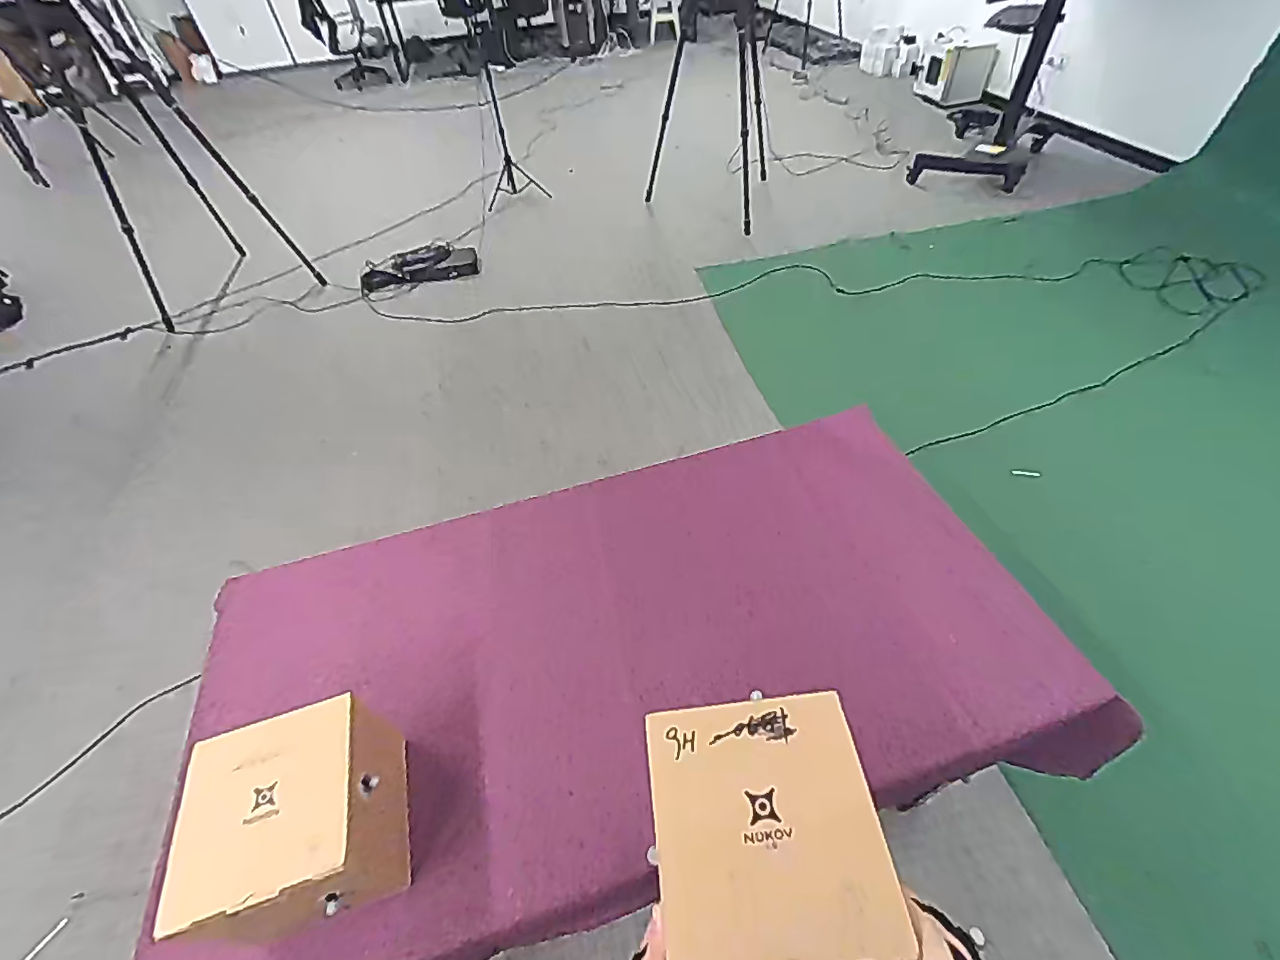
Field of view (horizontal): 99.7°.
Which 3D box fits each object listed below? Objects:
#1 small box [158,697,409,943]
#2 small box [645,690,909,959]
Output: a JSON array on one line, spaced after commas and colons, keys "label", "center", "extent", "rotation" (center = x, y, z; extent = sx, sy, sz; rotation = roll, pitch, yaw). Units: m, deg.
[{"label": "small box", "center": [-0.370, 0.378, 0.603], "extent": [0.168, 0.176, 0.179], "rotation": [-15, 49, -10]}, {"label": "small box", "center": [0.099, 0.304, 0.469], "extent": [0.168, 0.176, 0.179], "rotation": [-7, 50, 1]}]
